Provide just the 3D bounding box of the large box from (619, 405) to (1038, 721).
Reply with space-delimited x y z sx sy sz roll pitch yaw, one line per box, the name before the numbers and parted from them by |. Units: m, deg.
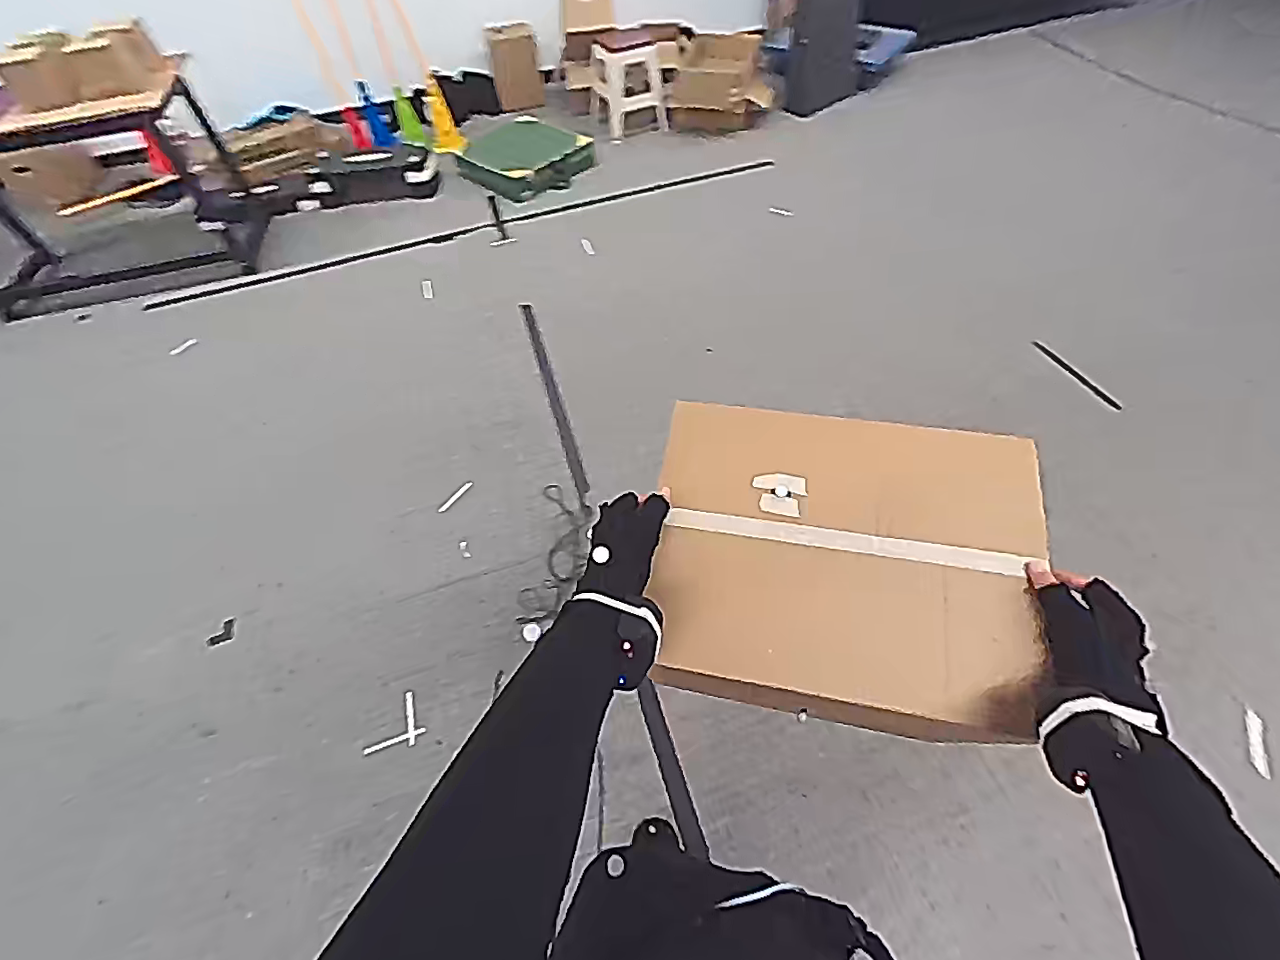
large box | 0.218 0.124 0.721 0.408 0.320 0.320 7 65 11
